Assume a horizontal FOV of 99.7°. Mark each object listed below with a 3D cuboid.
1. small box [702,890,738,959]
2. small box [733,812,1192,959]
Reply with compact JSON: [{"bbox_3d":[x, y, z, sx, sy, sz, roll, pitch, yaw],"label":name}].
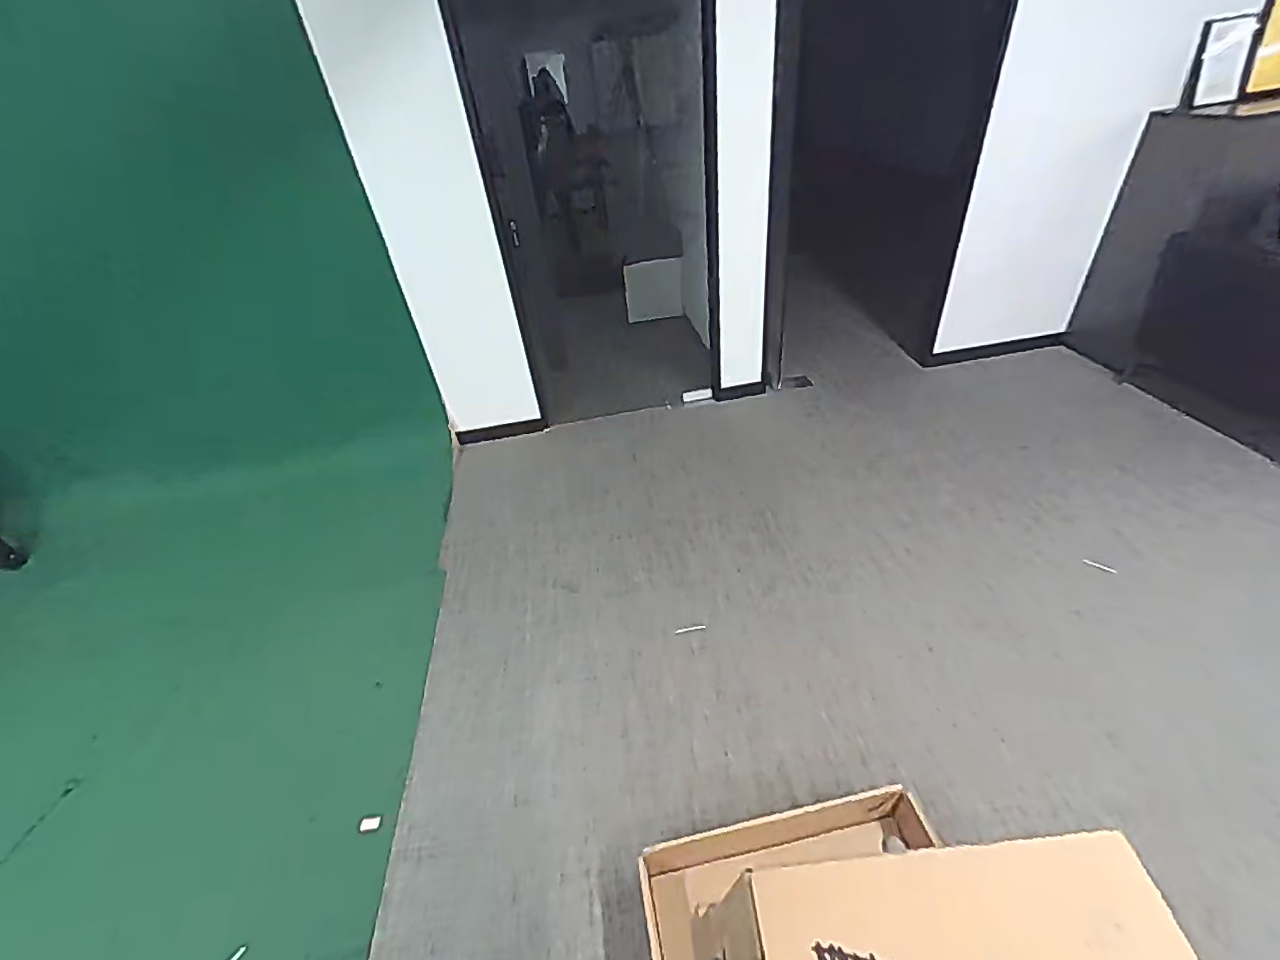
[{"bbox_3d":[0.153,0.495,0.502,0.168,0.176,0.179,-6,44,-2],"label":"small box"},{"bbox_3d":[0.144,0.278,0.256,0.179,0.176,0.168,-5,47,-2],"label":"small box"}]
